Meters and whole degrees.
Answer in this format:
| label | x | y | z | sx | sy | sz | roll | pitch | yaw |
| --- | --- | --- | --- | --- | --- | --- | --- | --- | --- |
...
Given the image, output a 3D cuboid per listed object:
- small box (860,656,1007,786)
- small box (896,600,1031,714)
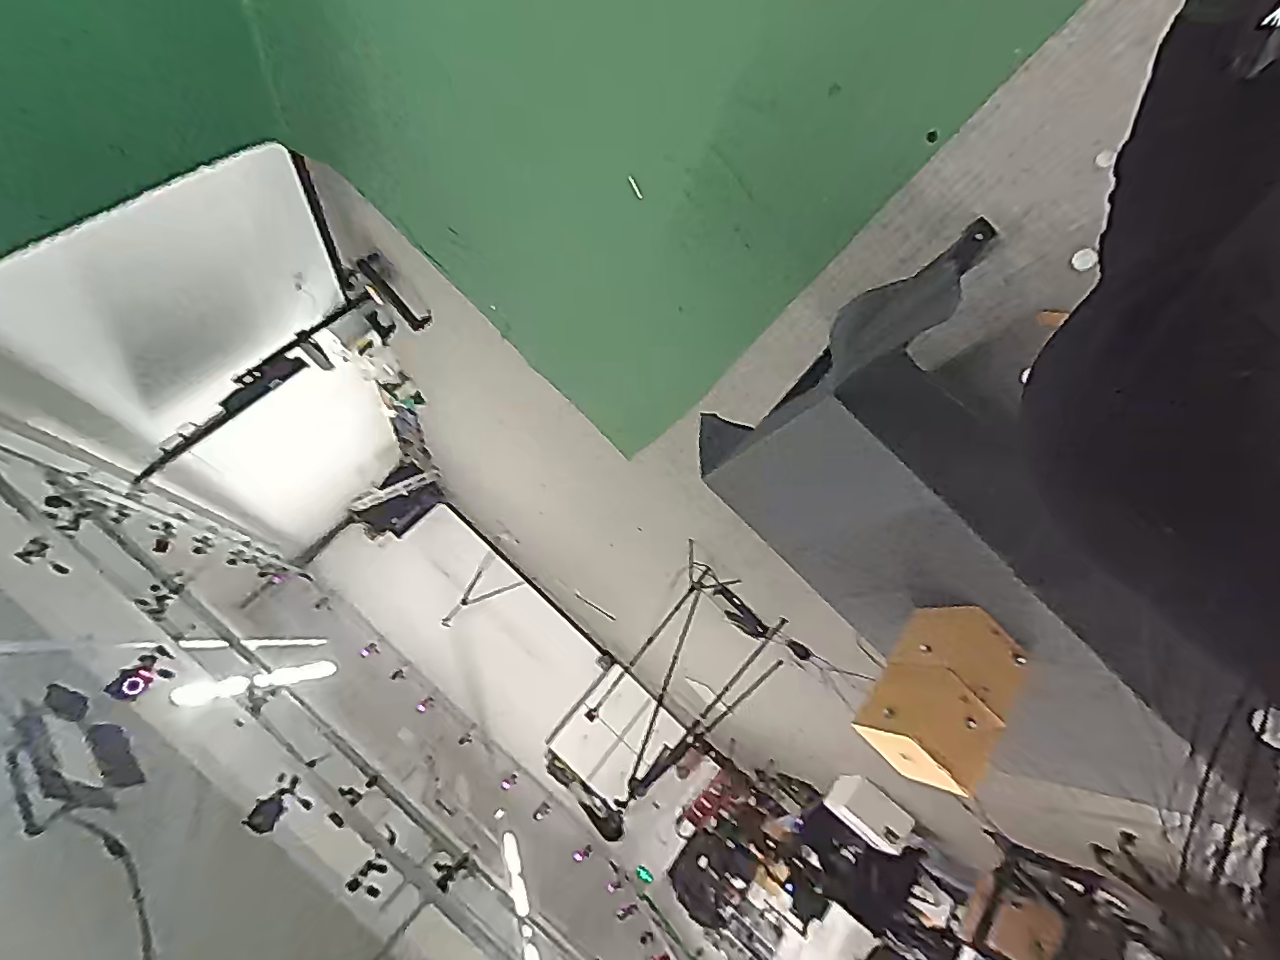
| label | x | y | z | sx | sy | sz | roll | pitch | yaw |
| --- | --- | --- | --- | --- | --- | --- | --- | --- | --- |
| small box | 0.607 | 0.486 | 1.120 | 0.168 | 0.176 | 0.179 | 44 | 157 | -1 |
| small box | 0.711 | 0.378 | 1.183 | 0.168 | 0.176 | 0.179 | 44 | 158 | -1 |
